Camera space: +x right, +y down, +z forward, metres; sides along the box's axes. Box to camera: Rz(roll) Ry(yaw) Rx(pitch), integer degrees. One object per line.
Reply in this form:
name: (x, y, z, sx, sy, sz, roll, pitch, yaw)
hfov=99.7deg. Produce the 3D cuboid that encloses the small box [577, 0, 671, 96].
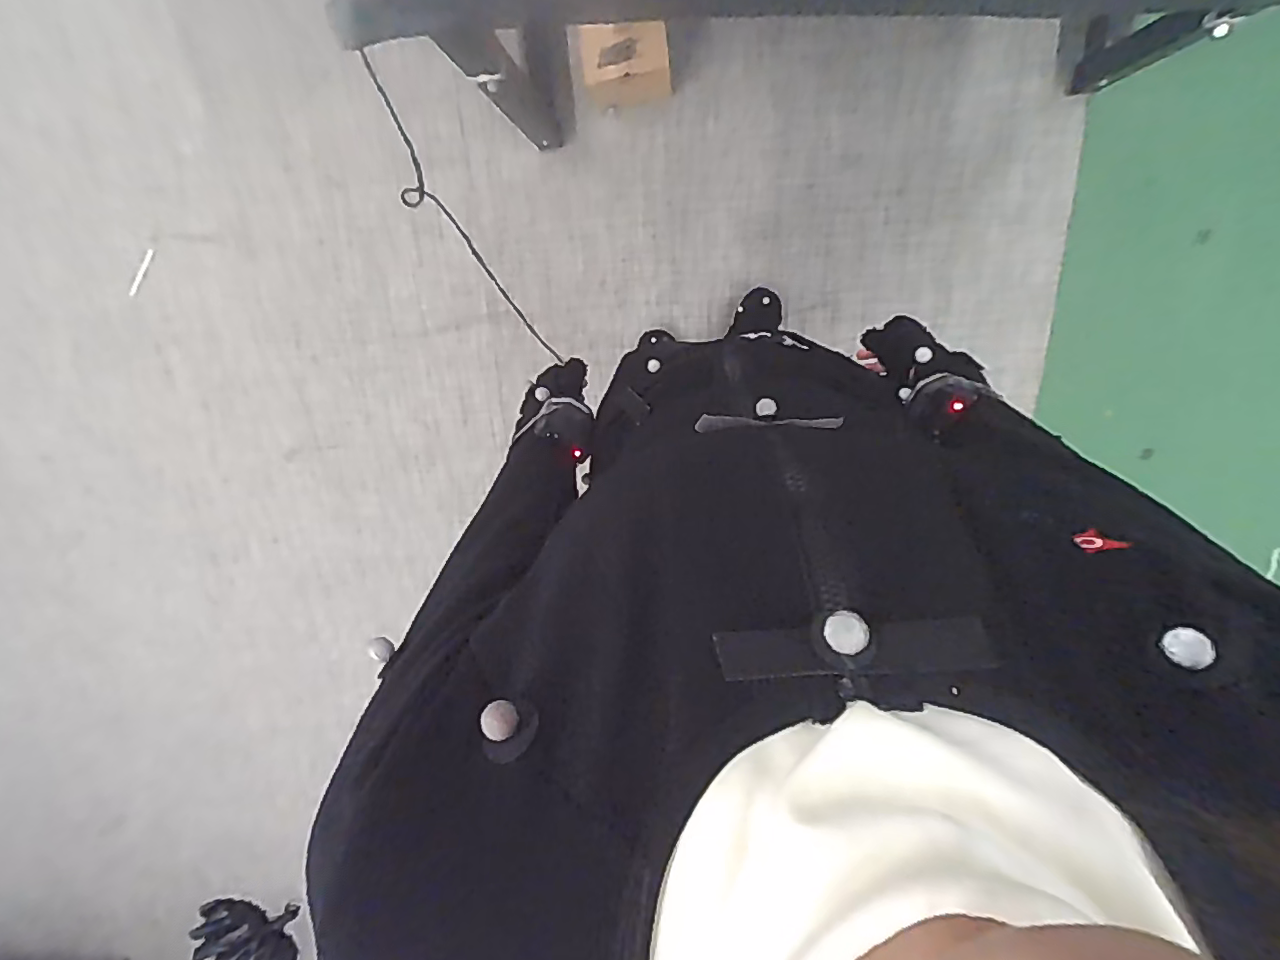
small box: (-0.028, -0.893, 1.076, 0.168, 0.176, 0.179, -6, 109, 5)
